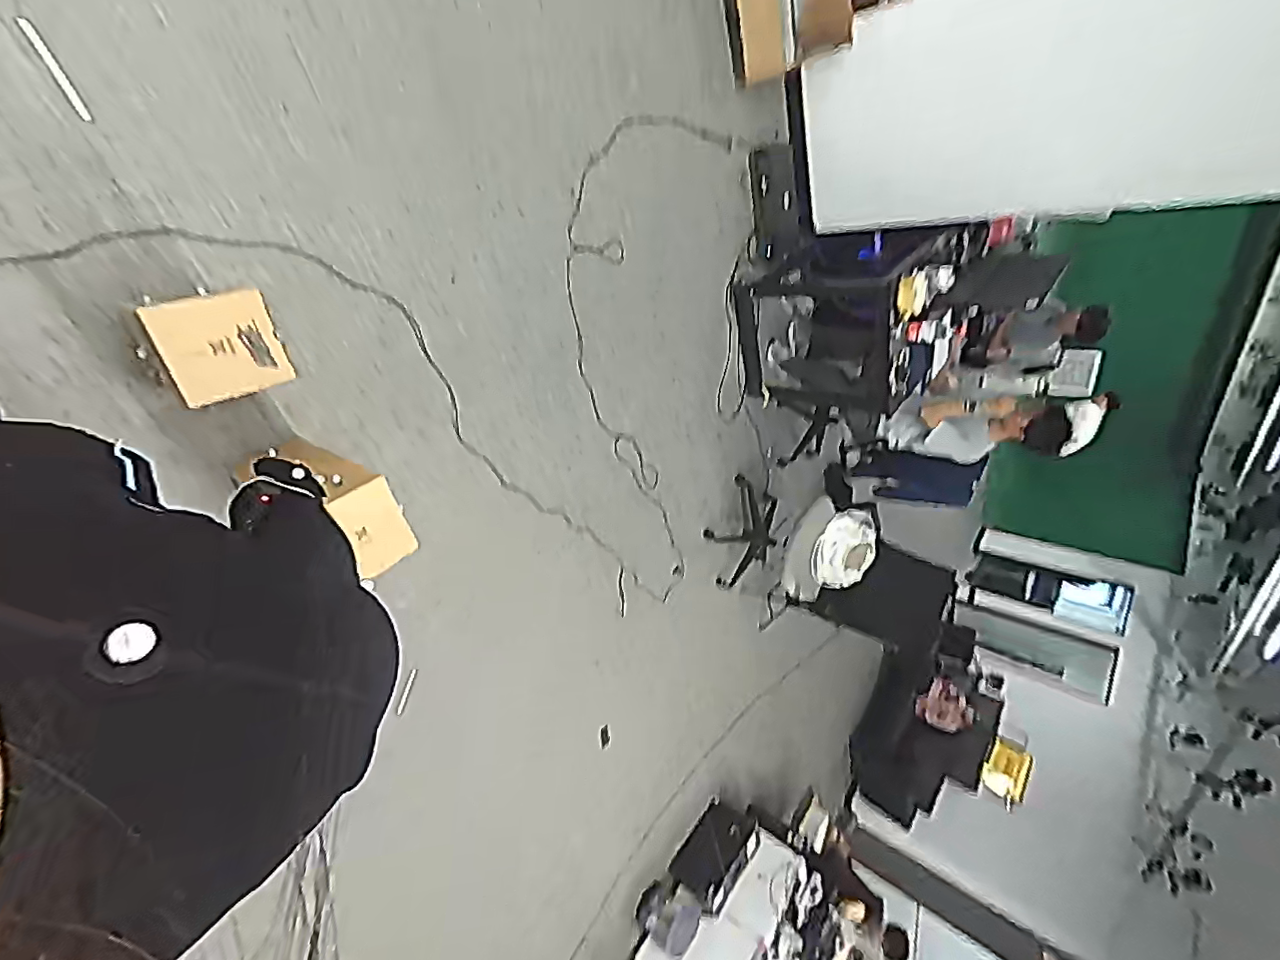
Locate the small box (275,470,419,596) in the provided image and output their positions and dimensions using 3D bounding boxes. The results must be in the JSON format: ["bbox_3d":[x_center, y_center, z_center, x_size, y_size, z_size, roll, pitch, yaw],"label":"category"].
[{"bbox_3d":[-0.581,0.093,1.073,0.168,0.176,0.179,-38,129,-36],"label":"small box"}]

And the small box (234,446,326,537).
[{"bbox_3d":[-0.821,0.029,1.288,0.168,0.176,0.179,-37,127,-35],"label":"small box"}]

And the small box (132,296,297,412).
[{"bbox_3d":[-0.779,-0.240,0.993,0.179,0.176,0.168,-32,125,-38],"label":"small box"}]

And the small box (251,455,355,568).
[{"bbox_3d":[-0.702,0.057,1.176,0.168,0.176,0.179,-35,127,-36],"label":"small box"}]
